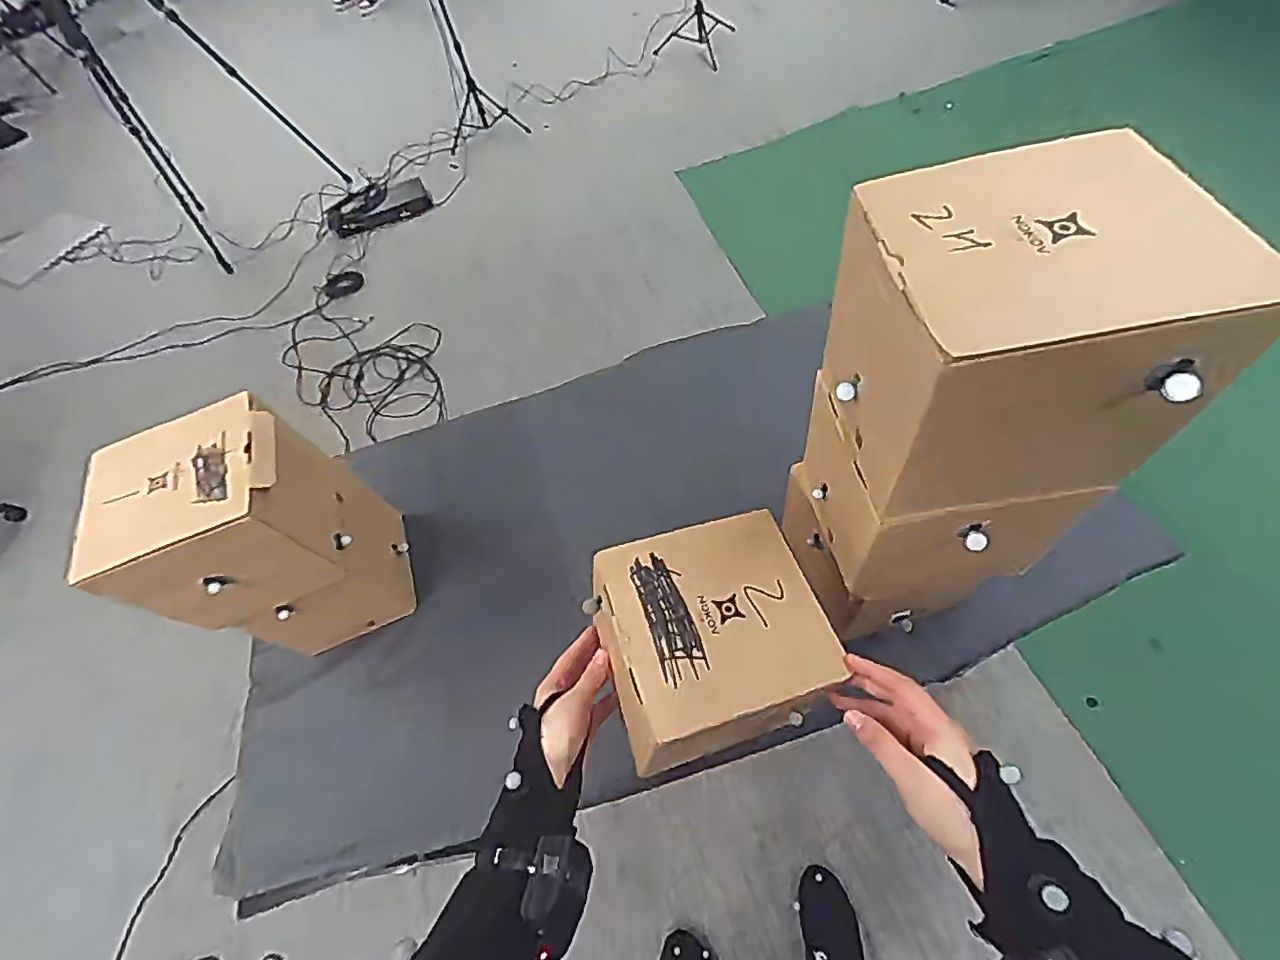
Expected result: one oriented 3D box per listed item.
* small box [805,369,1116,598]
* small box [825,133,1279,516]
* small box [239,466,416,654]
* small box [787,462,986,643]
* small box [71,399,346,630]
[{"bbox_3d":[0.266,-0.003,0.506,0.179,0.176,0.168,-11,57,5],"label":"small box"},{"bbox_3d":[0.241,-0.092,0.369,0.179,0.176,0.168,-10,56,7],"label":"small box"},{"bbox_3d":[-0.438,0.116,0.755,0.168,0.176,0.179,-22,58,-4],"label":"small box"},{"bbox_3d":[0.288,0.071,0.650,0.168,0.176,0.179,-20,57,0],"label":"small box"},{"bbox_3d":[-0.456,0.045,0.607,0.179,0.176,0.168,-22,59,-3],"label":"small box"}]
